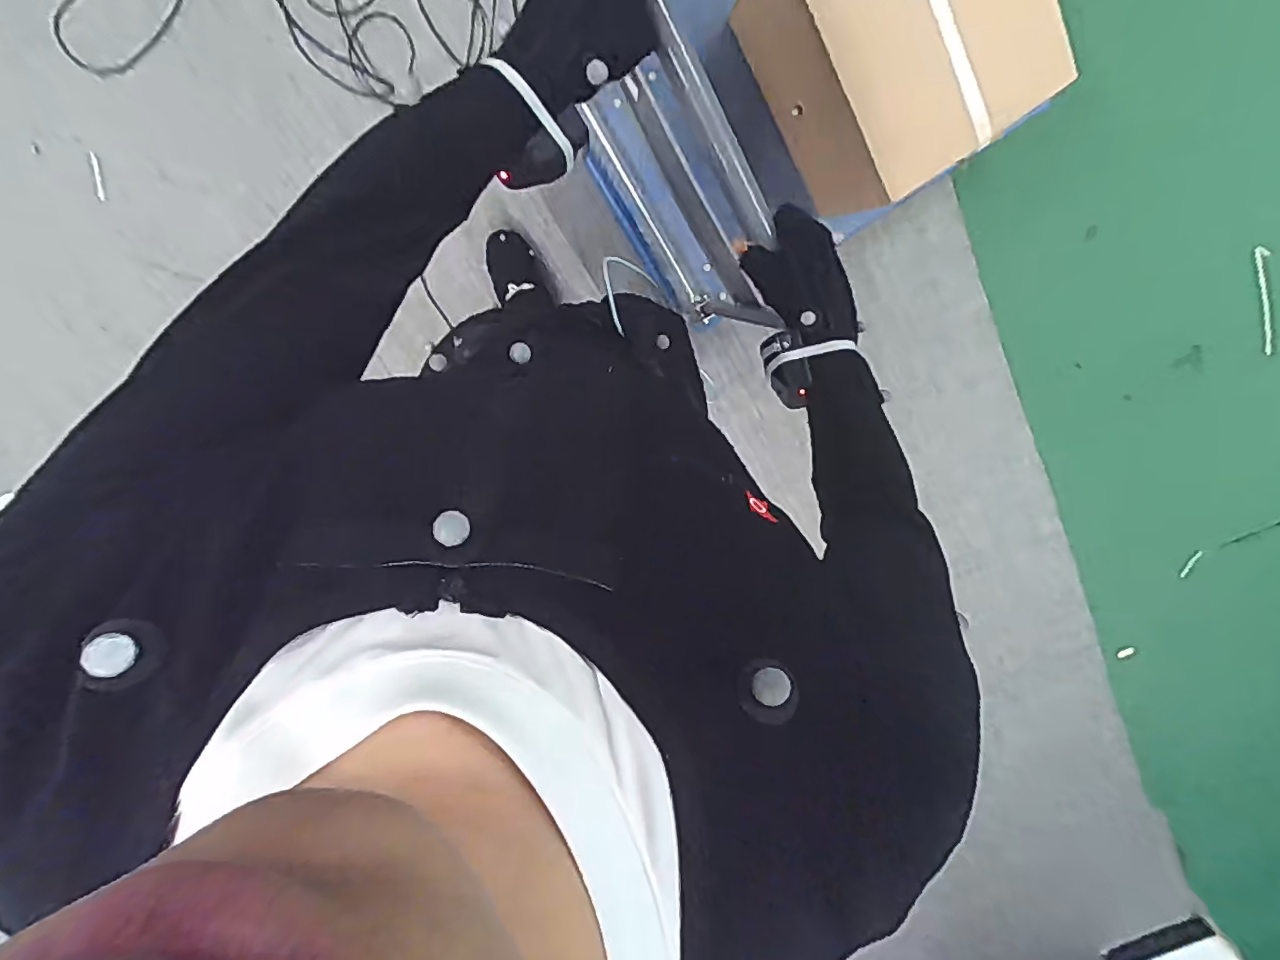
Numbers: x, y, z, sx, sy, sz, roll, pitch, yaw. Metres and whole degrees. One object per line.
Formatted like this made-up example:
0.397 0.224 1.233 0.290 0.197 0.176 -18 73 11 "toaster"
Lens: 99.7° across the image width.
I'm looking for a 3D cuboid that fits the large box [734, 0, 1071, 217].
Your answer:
0.414 -0.729 0.920 0.320 0.320 0.408 -33 110 9 "large box"
